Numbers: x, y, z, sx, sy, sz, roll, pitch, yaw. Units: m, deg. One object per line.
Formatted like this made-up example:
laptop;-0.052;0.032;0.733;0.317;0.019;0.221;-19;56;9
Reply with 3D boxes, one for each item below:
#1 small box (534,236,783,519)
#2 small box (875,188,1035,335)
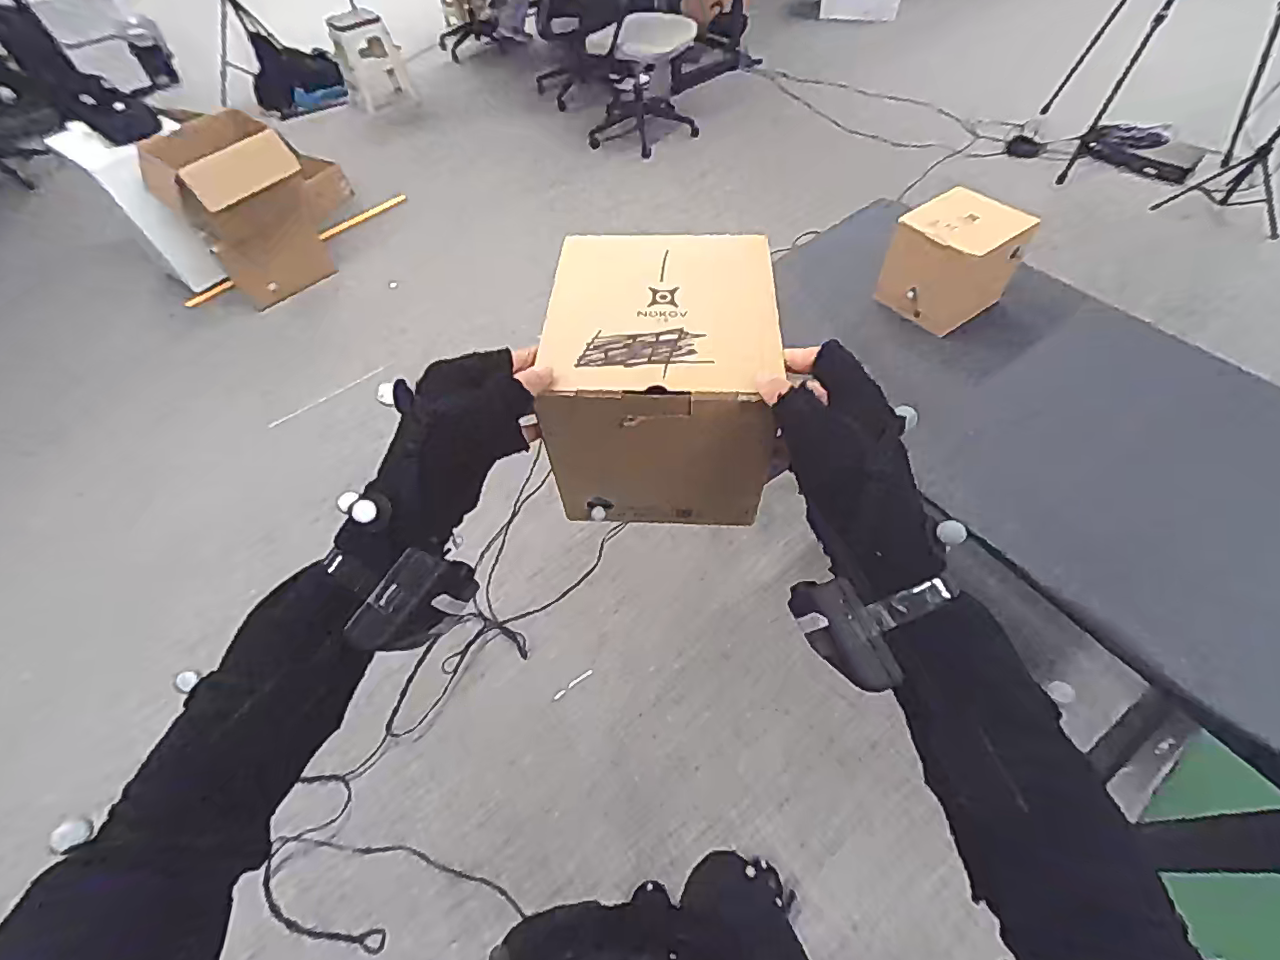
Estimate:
small box;0.021;-0.080;0.459;0.168;0.176;0.179;1;56;4
small box;0.579;-0.409;1.020;0.179;0.176;0.168;-32;58;-16
